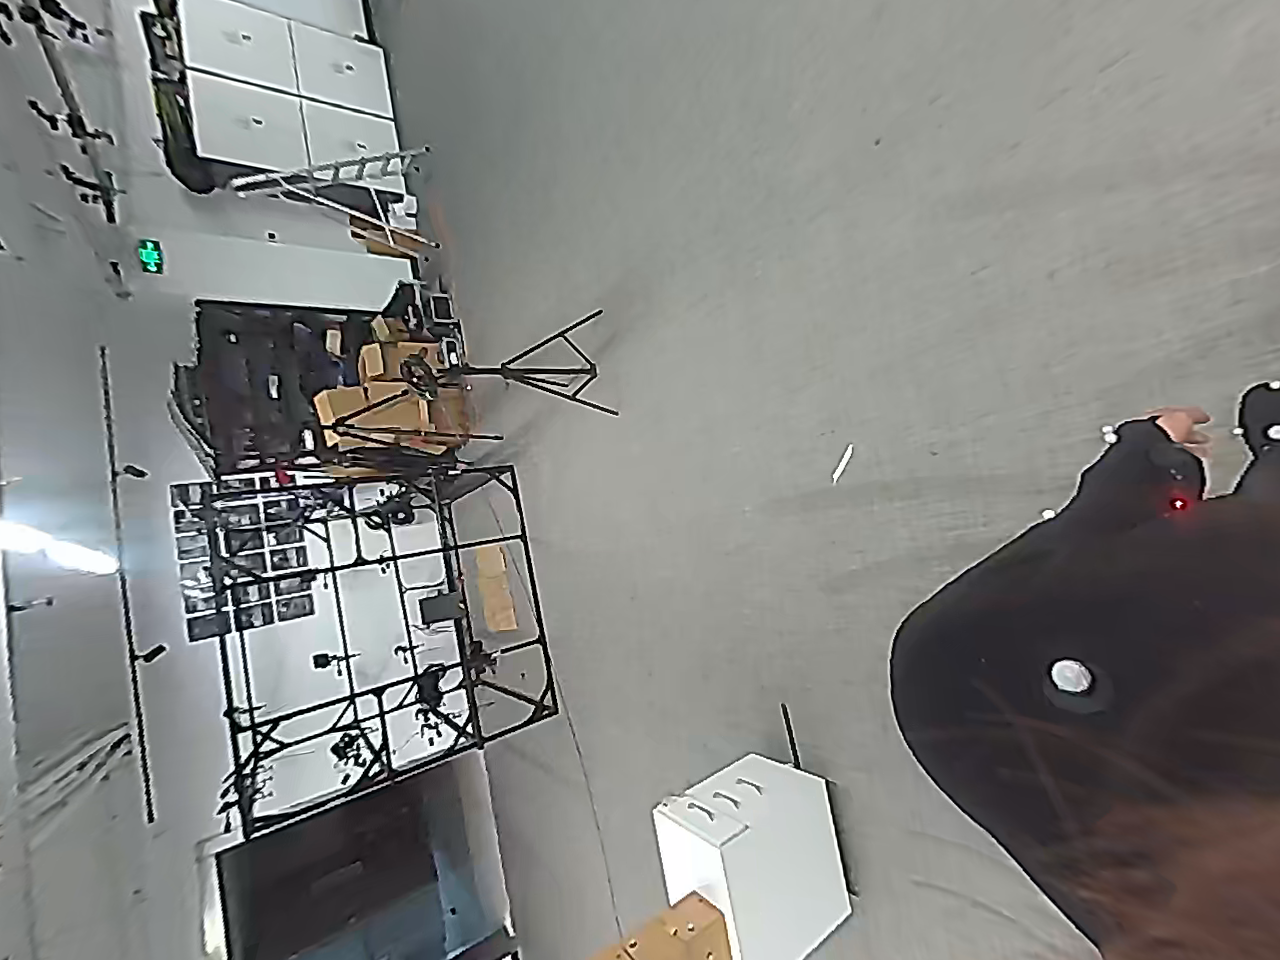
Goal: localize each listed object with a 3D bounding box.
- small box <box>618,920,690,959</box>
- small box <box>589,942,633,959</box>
[{"bbox_3d":[0.050,1.568,1.734,0.179,0.176,0.168,-12,87,56],"label":"small box"},{"bbox_3d":[-0.084,1.579,1.642,0.168,0.176,0.179,-15,84,57],"label":"small box"}]
